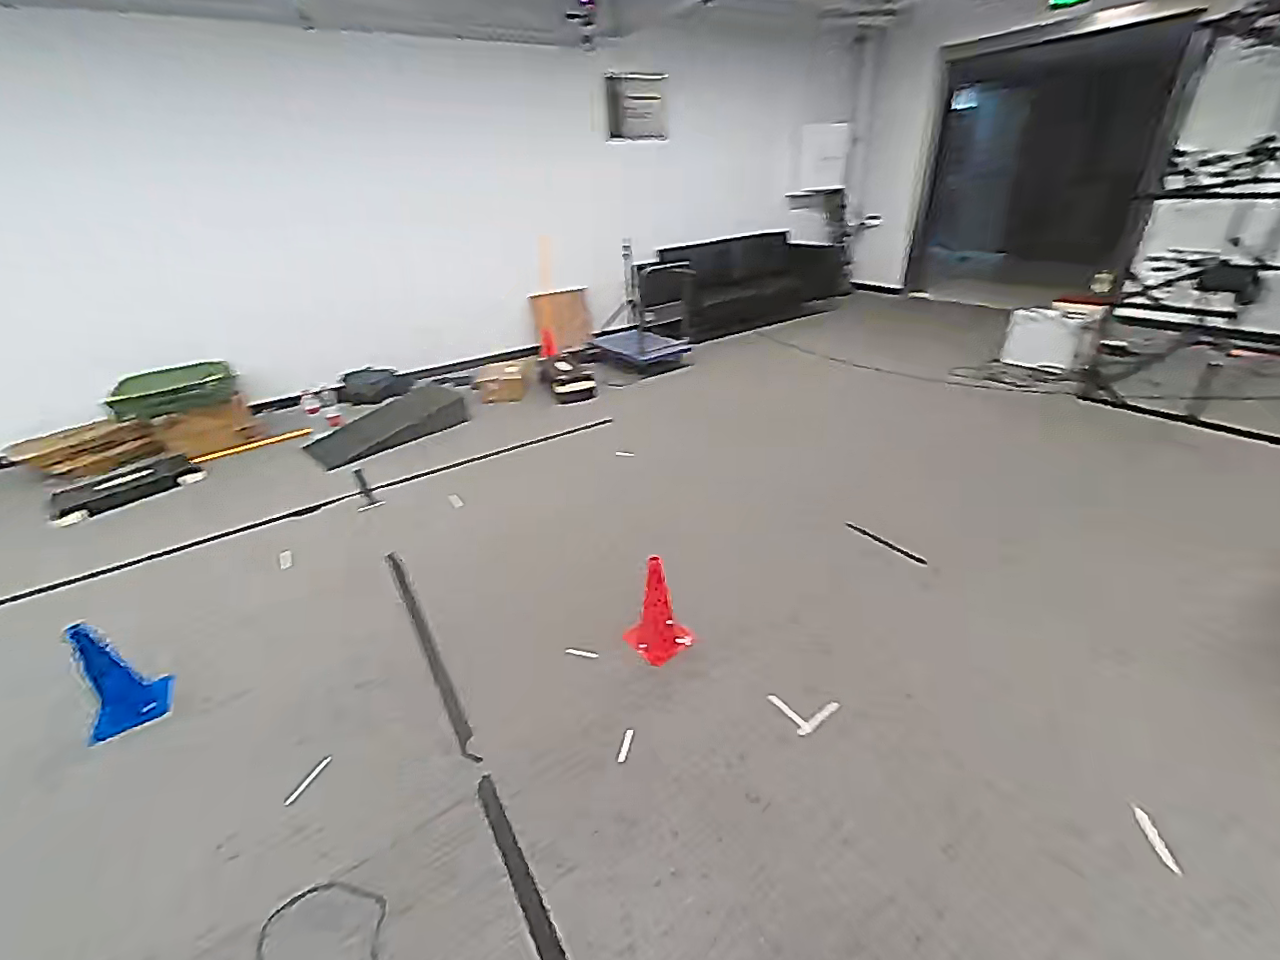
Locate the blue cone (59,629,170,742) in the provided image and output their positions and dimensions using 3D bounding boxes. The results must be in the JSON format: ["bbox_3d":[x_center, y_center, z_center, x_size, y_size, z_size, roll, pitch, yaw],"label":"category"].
[{"bbox_3d":[-1.675,0.610,1.693,0.192,0.380,0.193,-20,33,-26],"label":"blue cone"}]

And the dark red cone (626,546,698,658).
[{"bbox_3d":[0.066,0.389,1.831,0.201,0.394,0.202,-26,36,-33],"label":"dark red cone"}]
